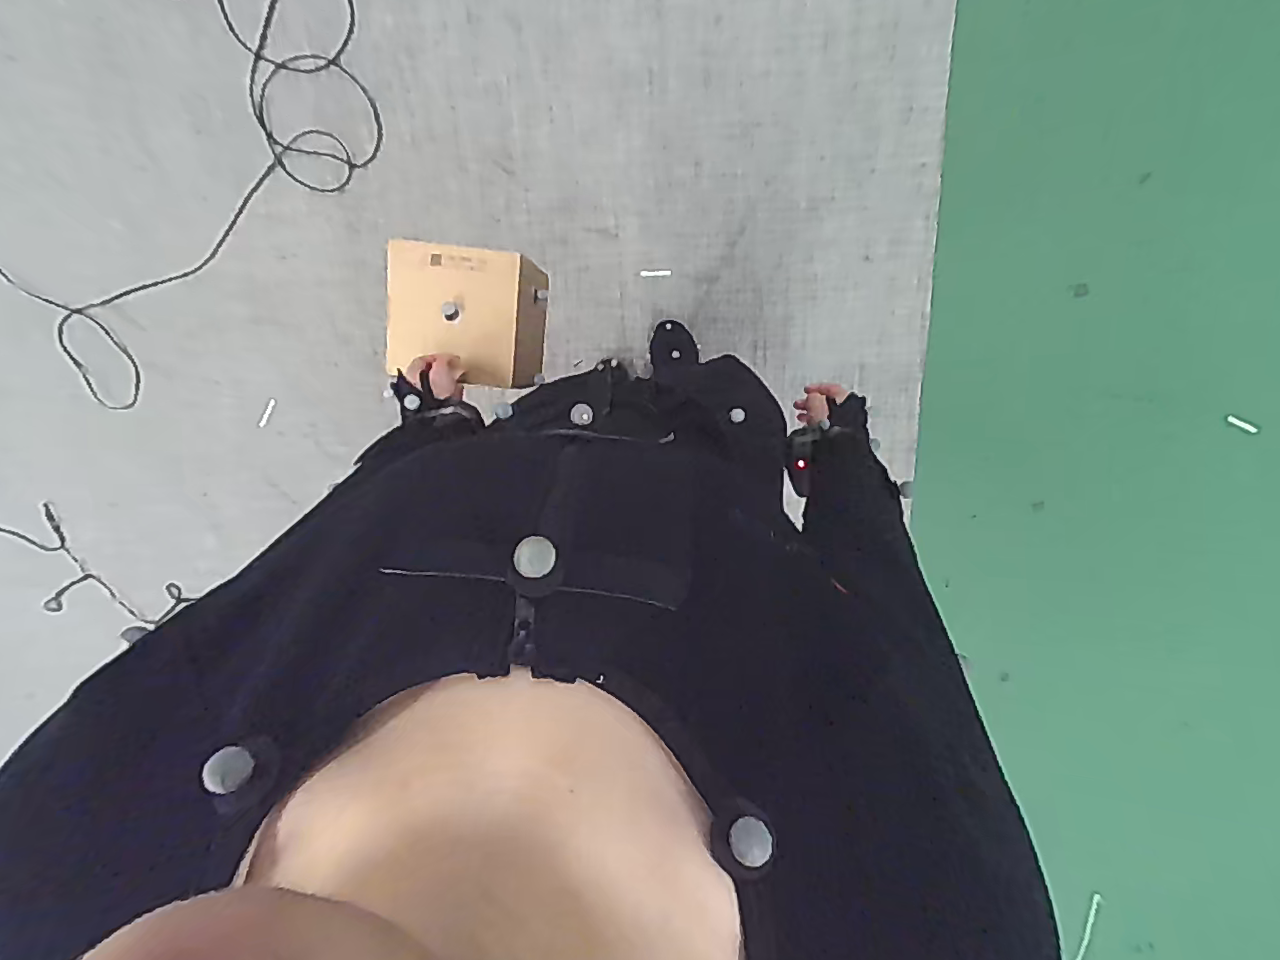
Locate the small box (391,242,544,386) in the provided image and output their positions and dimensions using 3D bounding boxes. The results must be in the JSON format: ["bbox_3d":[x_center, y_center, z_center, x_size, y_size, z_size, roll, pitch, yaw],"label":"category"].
[{"bbox_3d":[-0.233,-0.224,0.758,0.168,0.179,0.176,5,101,0],"label":"small box"}]
